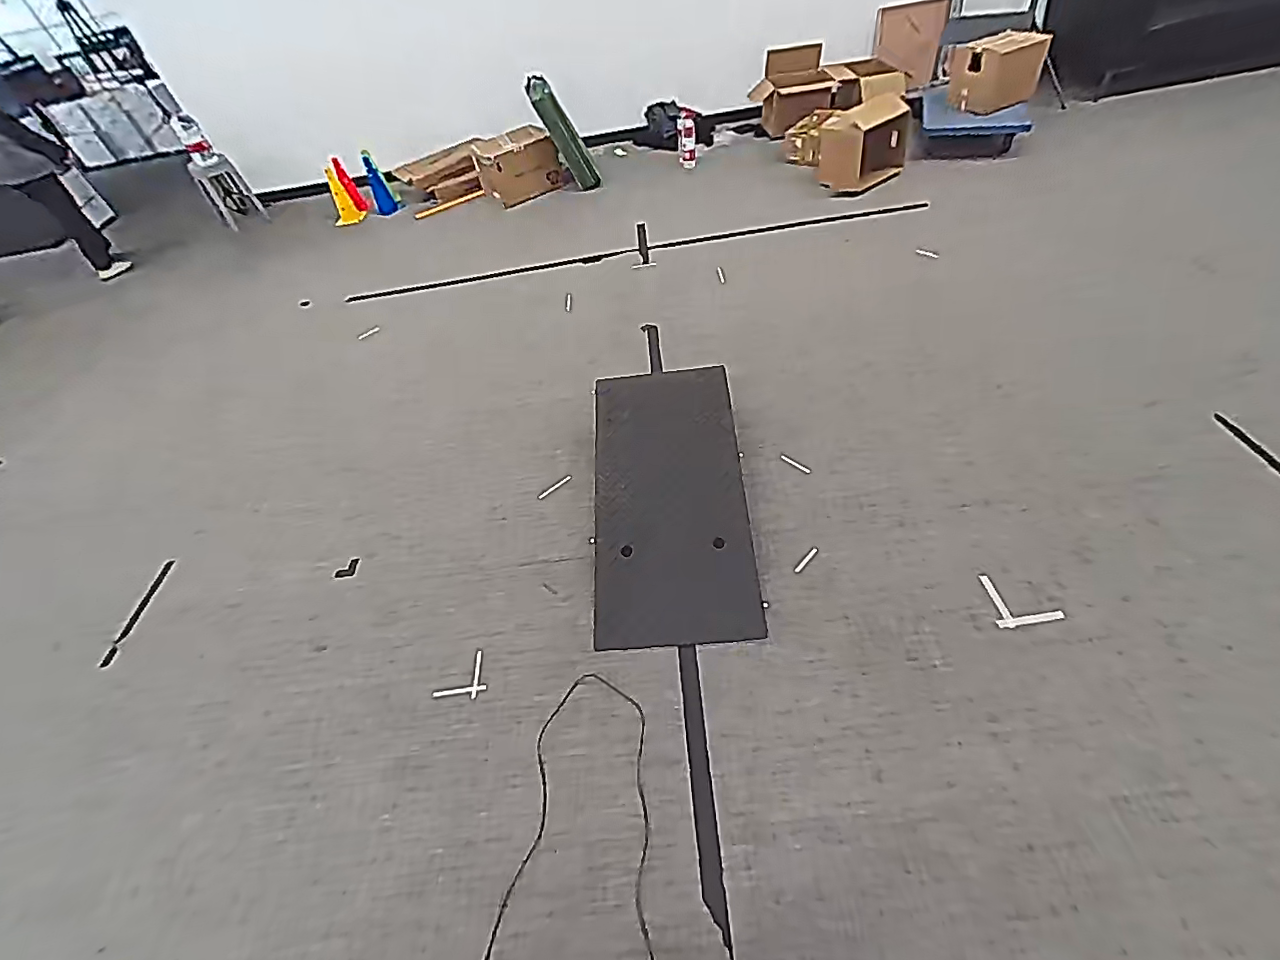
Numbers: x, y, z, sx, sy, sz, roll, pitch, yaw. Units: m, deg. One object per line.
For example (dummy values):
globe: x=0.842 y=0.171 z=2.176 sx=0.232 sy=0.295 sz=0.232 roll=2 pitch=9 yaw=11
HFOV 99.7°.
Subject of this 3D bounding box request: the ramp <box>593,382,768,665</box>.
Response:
ramp: x=0.091 y=0.081 z=1.791 sx=0.509 sy=0.206 sz=0.991 roll=-8 pitch=47 yaw=3
